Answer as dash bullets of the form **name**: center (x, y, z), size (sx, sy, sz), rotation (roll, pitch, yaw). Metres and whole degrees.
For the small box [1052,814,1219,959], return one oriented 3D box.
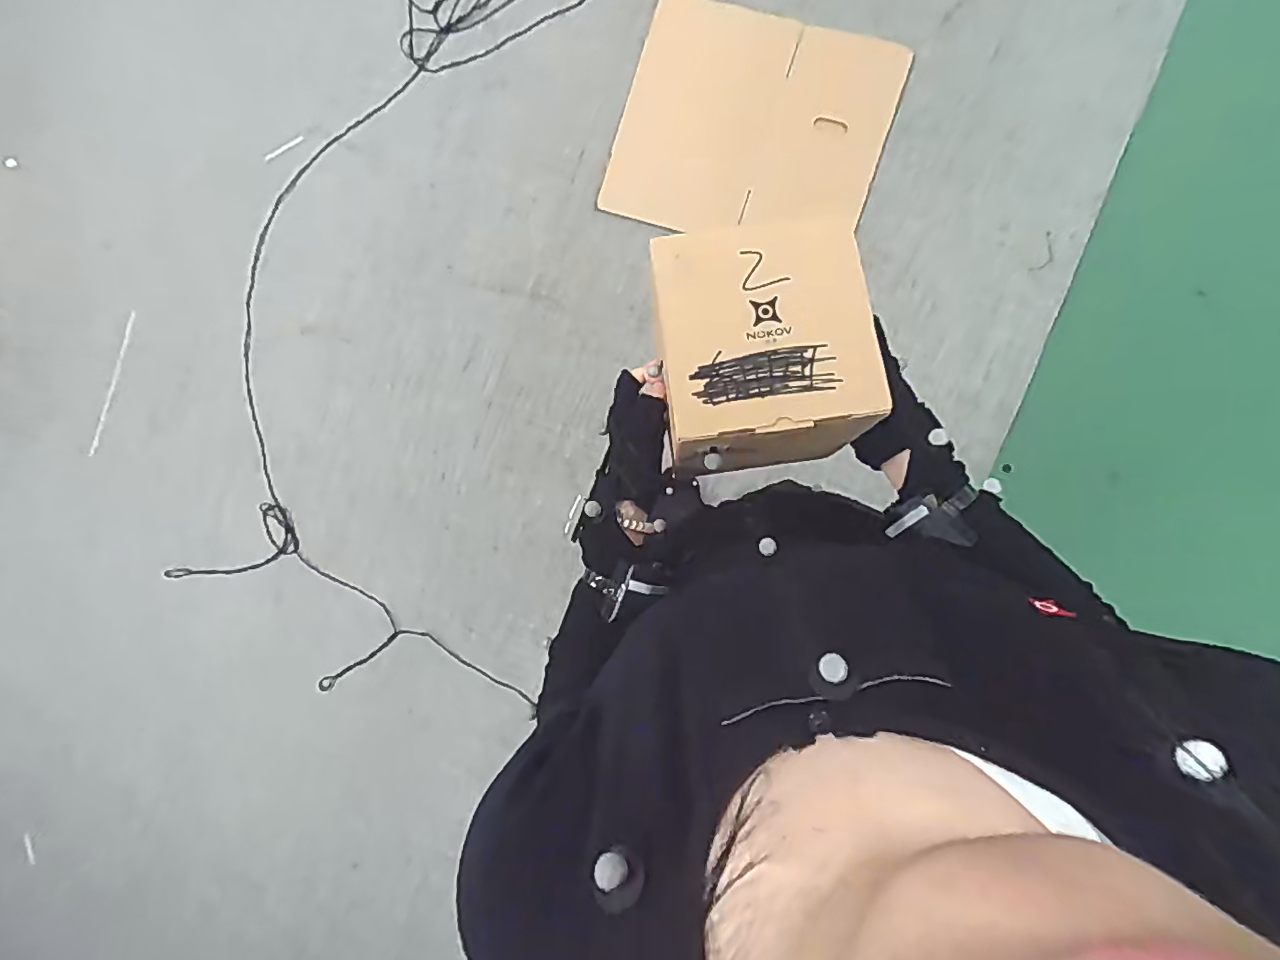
- **small box**: center (1.045, 0.862, 1.157), size (0.179, 0.176, 0.168), rotation (18, 94, 6)
